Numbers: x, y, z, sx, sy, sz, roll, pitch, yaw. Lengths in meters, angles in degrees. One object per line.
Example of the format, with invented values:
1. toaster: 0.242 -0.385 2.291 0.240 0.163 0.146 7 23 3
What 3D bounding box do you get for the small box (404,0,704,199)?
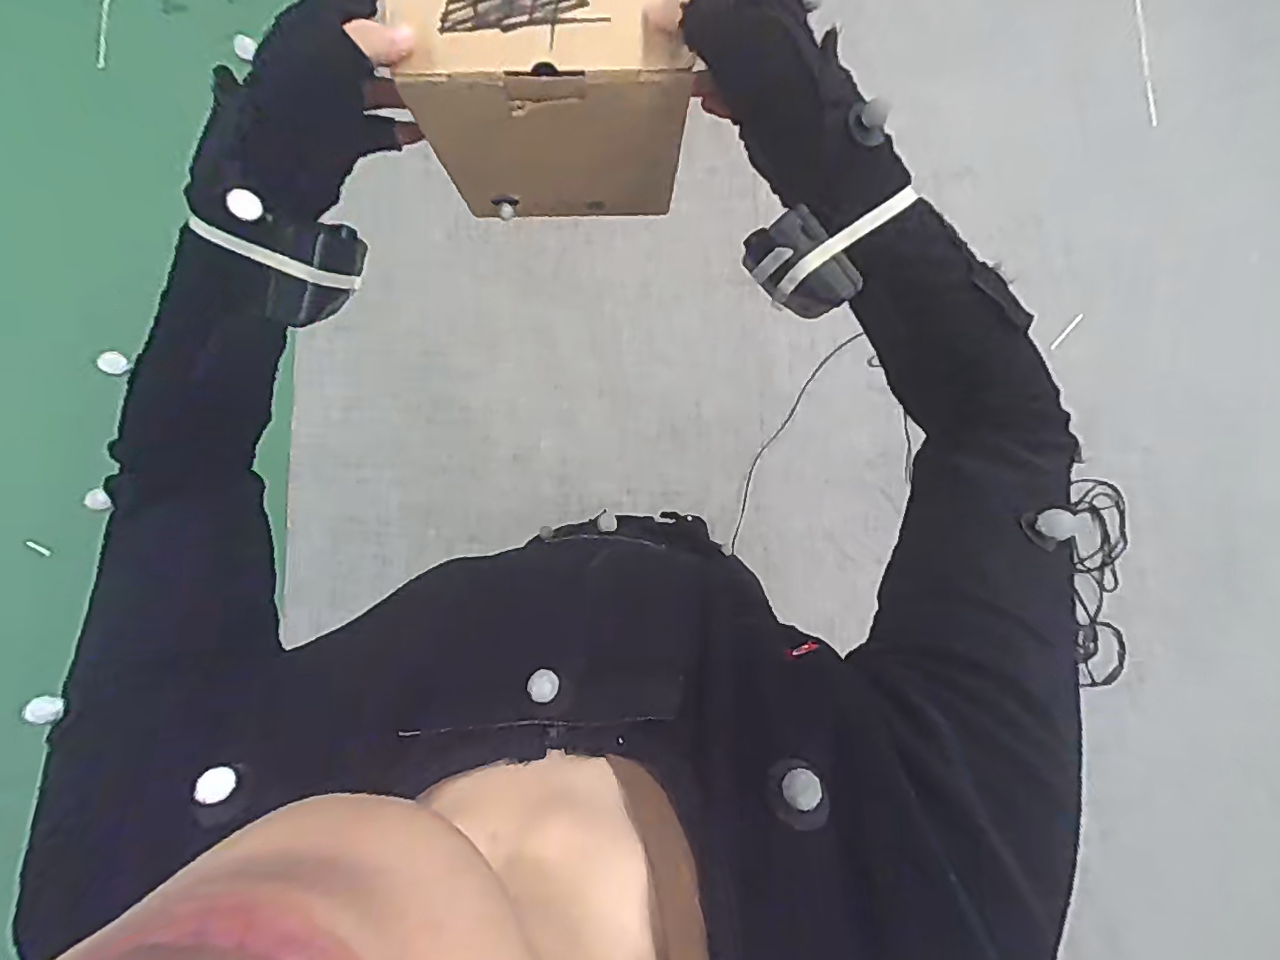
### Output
1. small box: -0.049 -0.314 0.371 0.168 0.176 0.179 -2 91 -2
